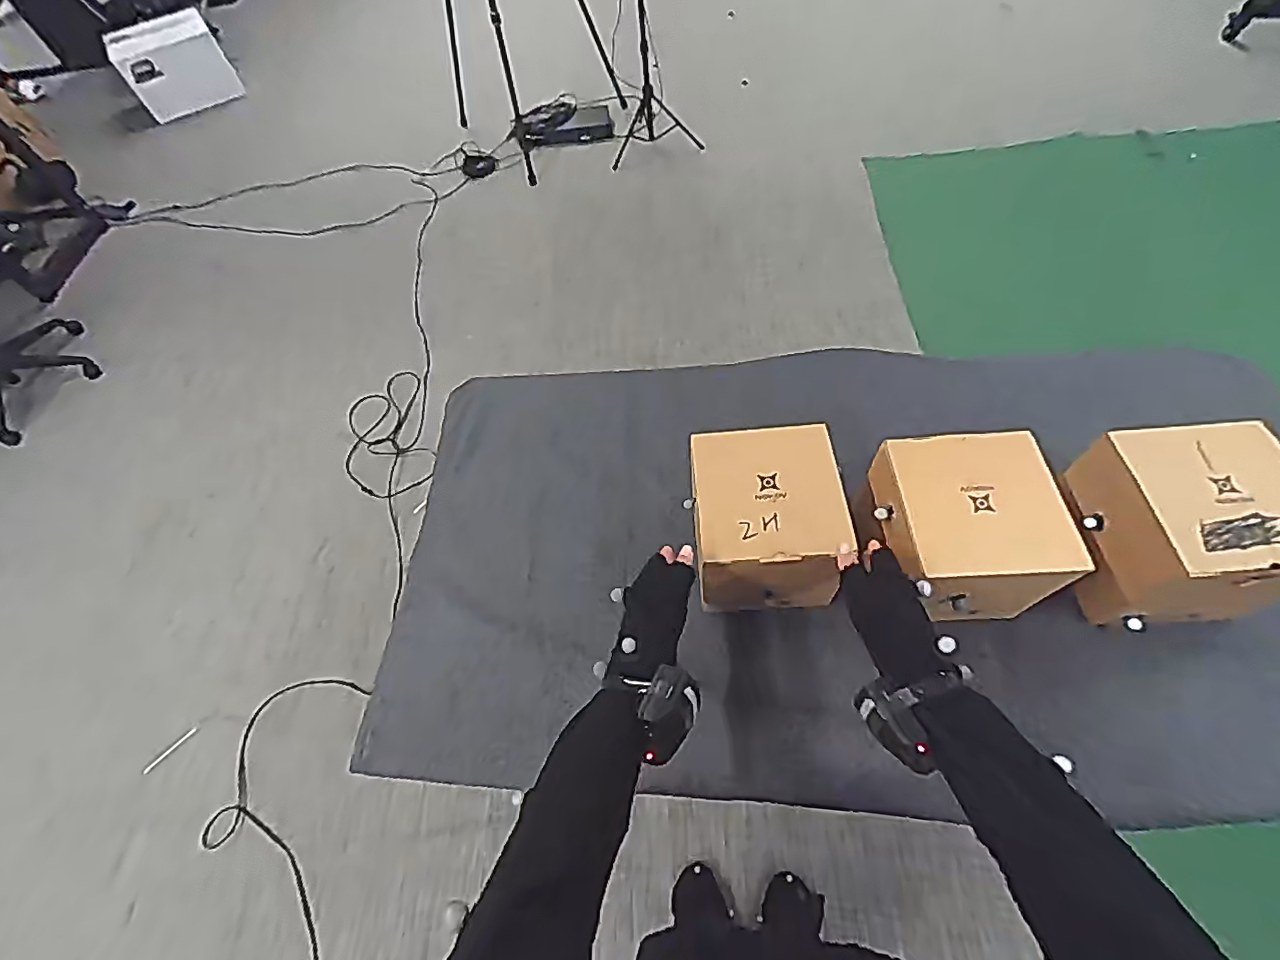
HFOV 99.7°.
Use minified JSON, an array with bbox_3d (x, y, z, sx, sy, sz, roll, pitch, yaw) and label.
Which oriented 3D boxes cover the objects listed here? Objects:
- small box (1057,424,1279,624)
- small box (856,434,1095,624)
[{"bbox_3d":[0.615,0.060,0.621,0.168,0.176,0.179,-4,57,5],"label":"small box"},{"bbox_3d":[0.376,0.068,0.648,0.168,0.176,0.179,-4,57,5],"label":"small box"}]
